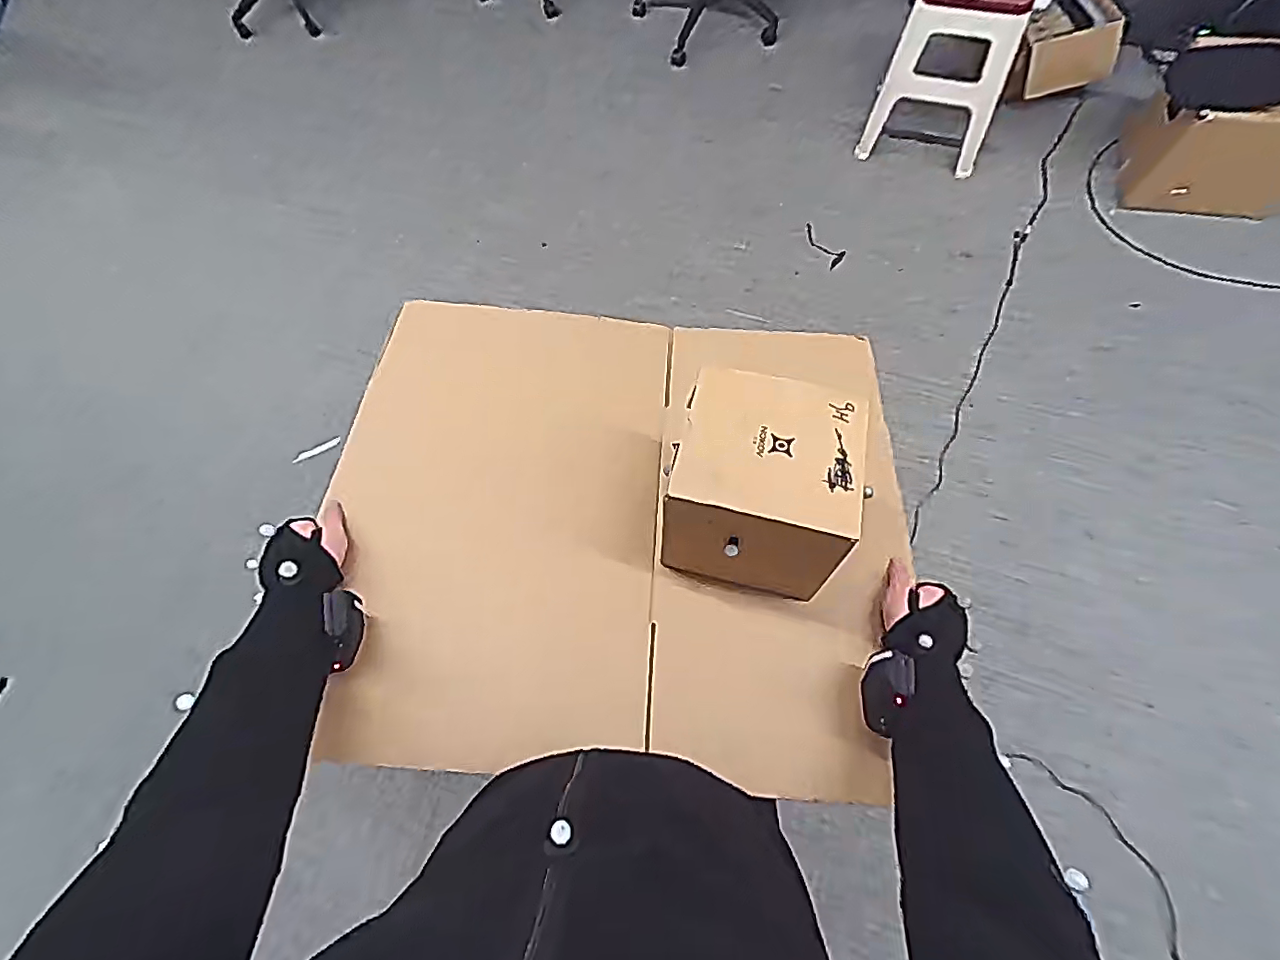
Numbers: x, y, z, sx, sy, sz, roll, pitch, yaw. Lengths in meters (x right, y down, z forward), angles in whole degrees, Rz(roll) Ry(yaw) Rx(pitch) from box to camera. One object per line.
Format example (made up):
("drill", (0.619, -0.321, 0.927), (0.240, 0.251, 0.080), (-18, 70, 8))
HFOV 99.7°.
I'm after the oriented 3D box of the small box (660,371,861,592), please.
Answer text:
("small box", (0.125, 0.008, 0.595), (0.179, 0.176, 0.168), (11, 61, 9))
